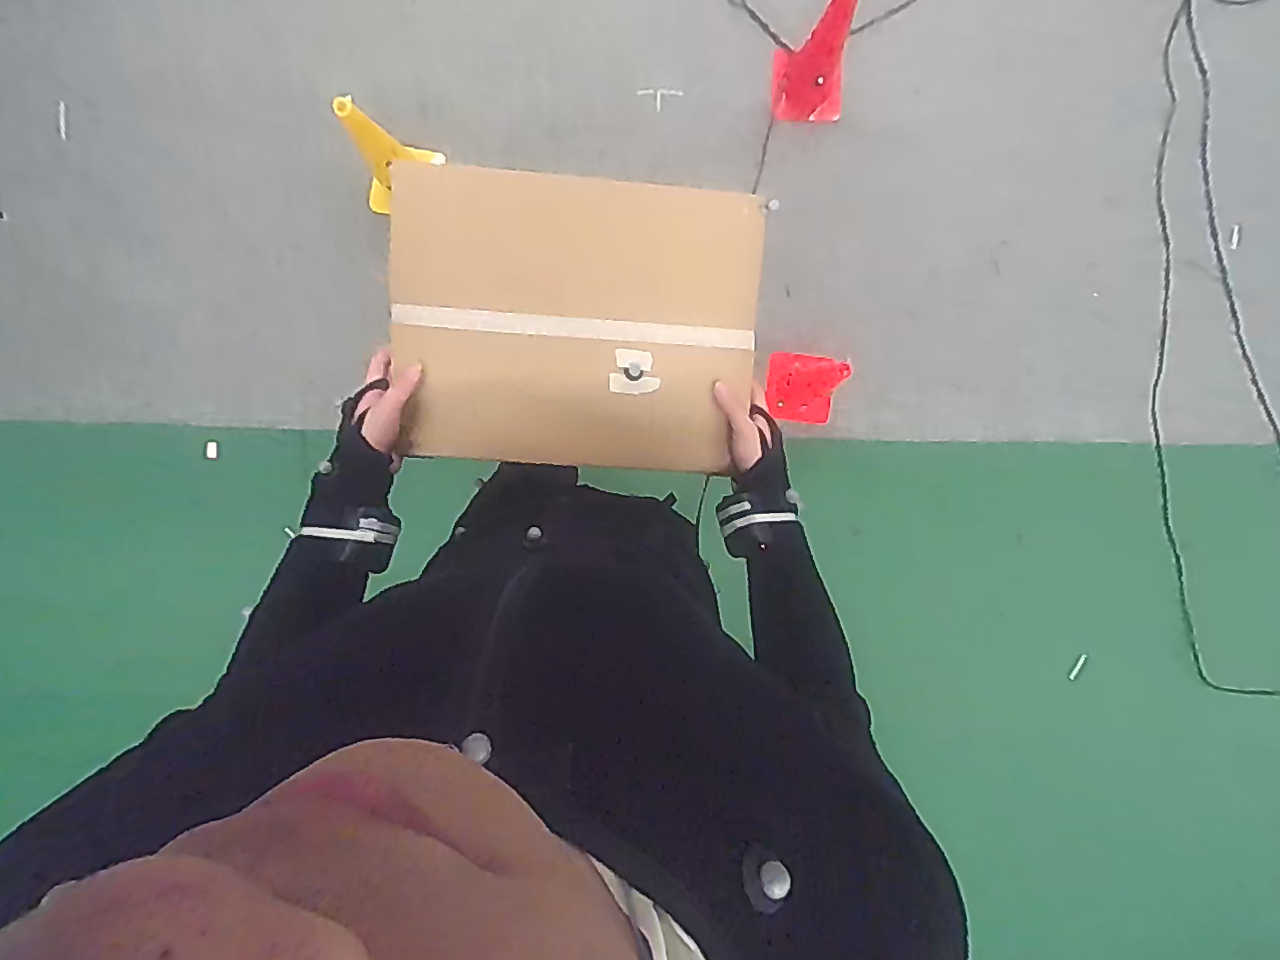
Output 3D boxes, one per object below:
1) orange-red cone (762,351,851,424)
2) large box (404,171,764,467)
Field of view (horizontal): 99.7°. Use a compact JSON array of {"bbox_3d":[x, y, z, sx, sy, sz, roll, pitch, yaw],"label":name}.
[{"bbox_3d":[0.475,-0.263,1.437,0.199,0.360,0.198,8,94,-2],"label":"orange-red cone"},{"bbox_3d":[-0.076,-0.196,0.763,0.408,0.320,0.320,3,99,-5],"label":"large box"}]
